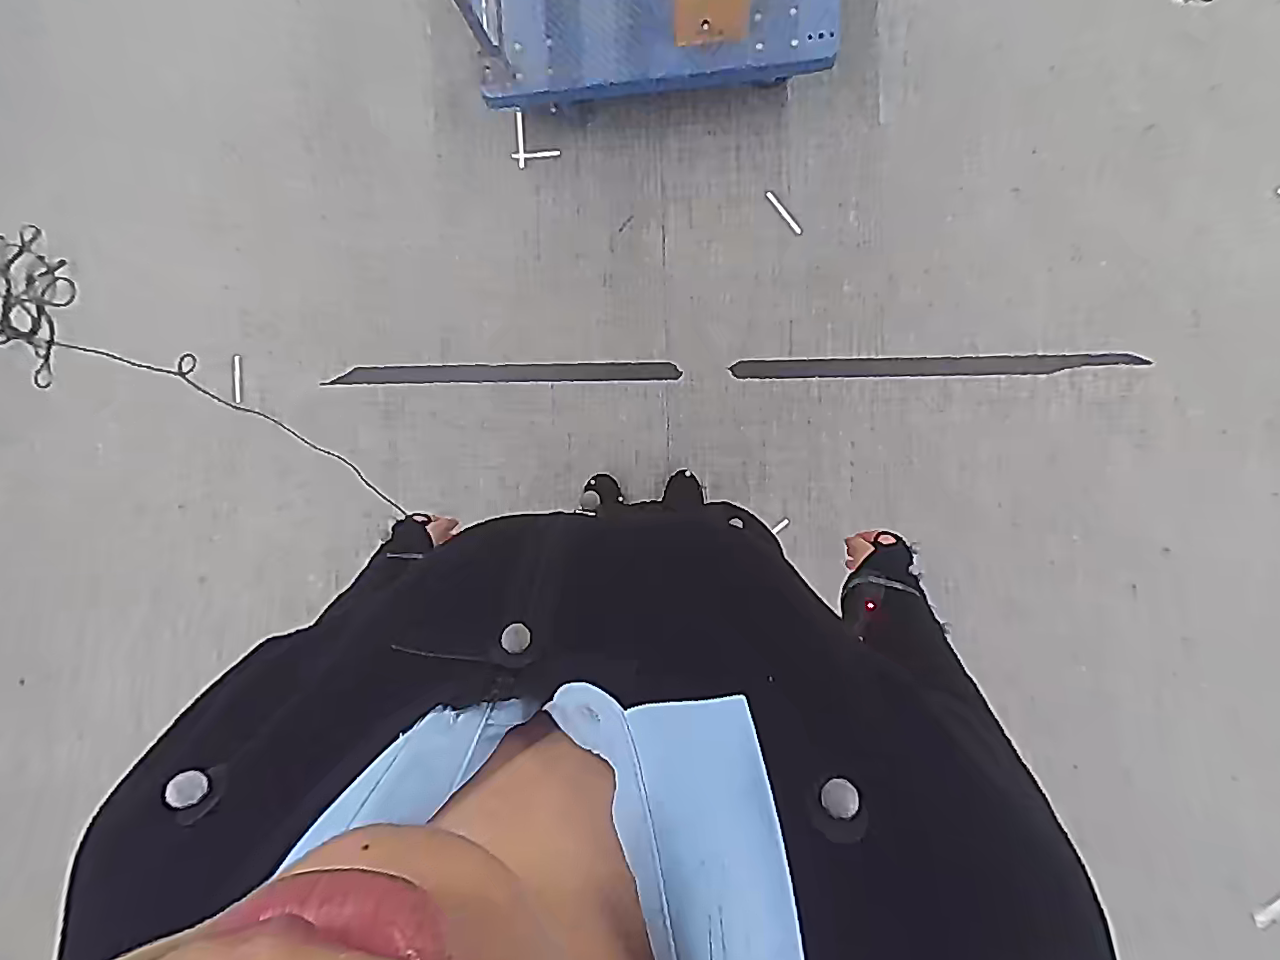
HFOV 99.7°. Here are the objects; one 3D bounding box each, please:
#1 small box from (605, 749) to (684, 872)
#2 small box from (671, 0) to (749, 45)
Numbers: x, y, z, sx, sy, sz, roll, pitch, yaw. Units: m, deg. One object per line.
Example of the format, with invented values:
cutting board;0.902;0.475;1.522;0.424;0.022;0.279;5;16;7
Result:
small box;0.016;0.766;1.269;0.168;0.176;0.179;4;91;4
small box;0.151;-1.111;1.184;0.168;0.176;0.179;-3;91;5
